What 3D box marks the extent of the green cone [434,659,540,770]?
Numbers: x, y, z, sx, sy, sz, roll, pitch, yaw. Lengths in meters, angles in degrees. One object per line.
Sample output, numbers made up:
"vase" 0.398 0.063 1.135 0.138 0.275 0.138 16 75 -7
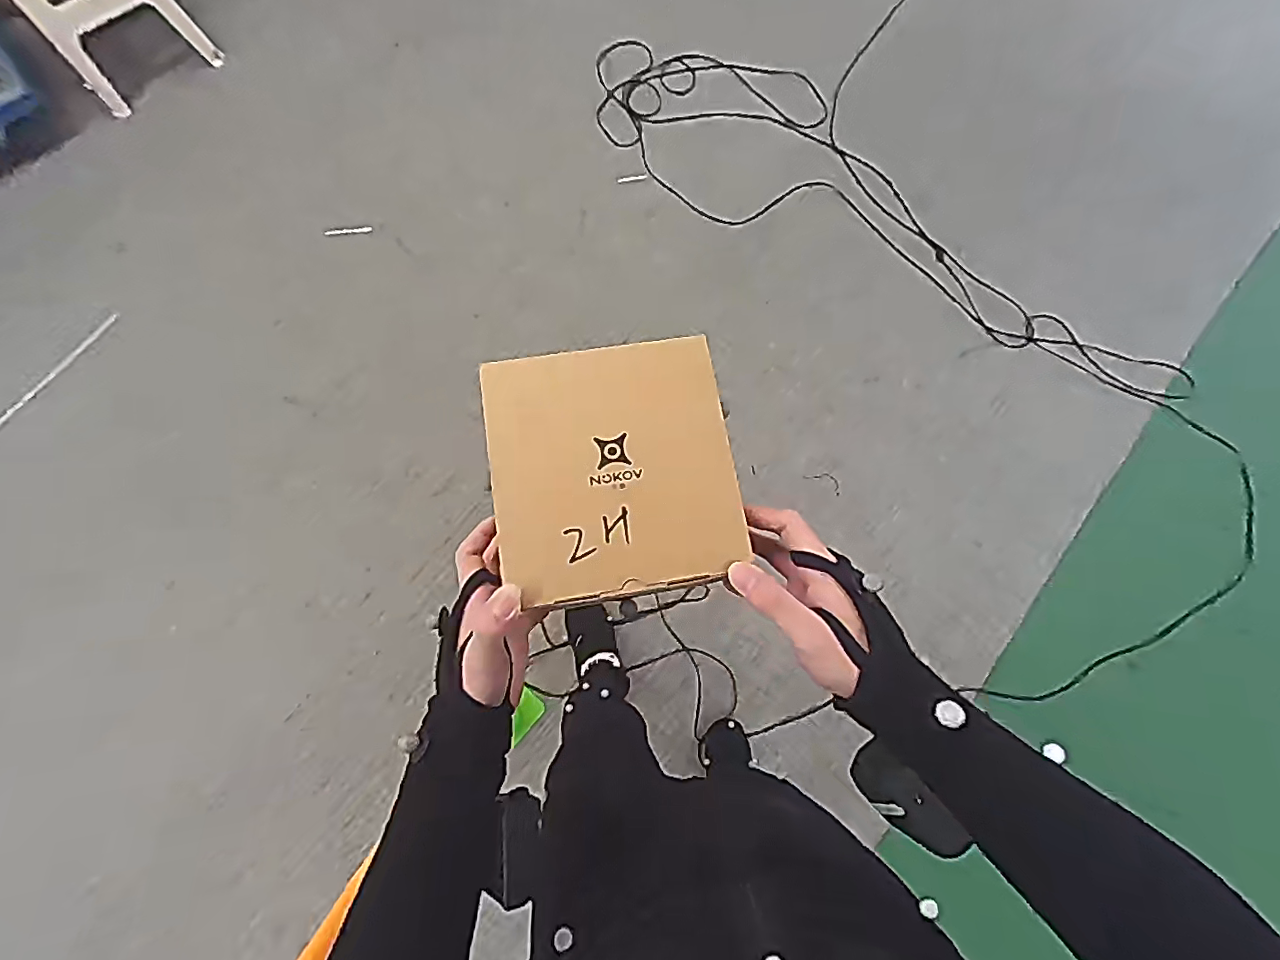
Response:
"green cone" -0.370 0.542 1.174 0.200 0.368 0.202 40 79 6
